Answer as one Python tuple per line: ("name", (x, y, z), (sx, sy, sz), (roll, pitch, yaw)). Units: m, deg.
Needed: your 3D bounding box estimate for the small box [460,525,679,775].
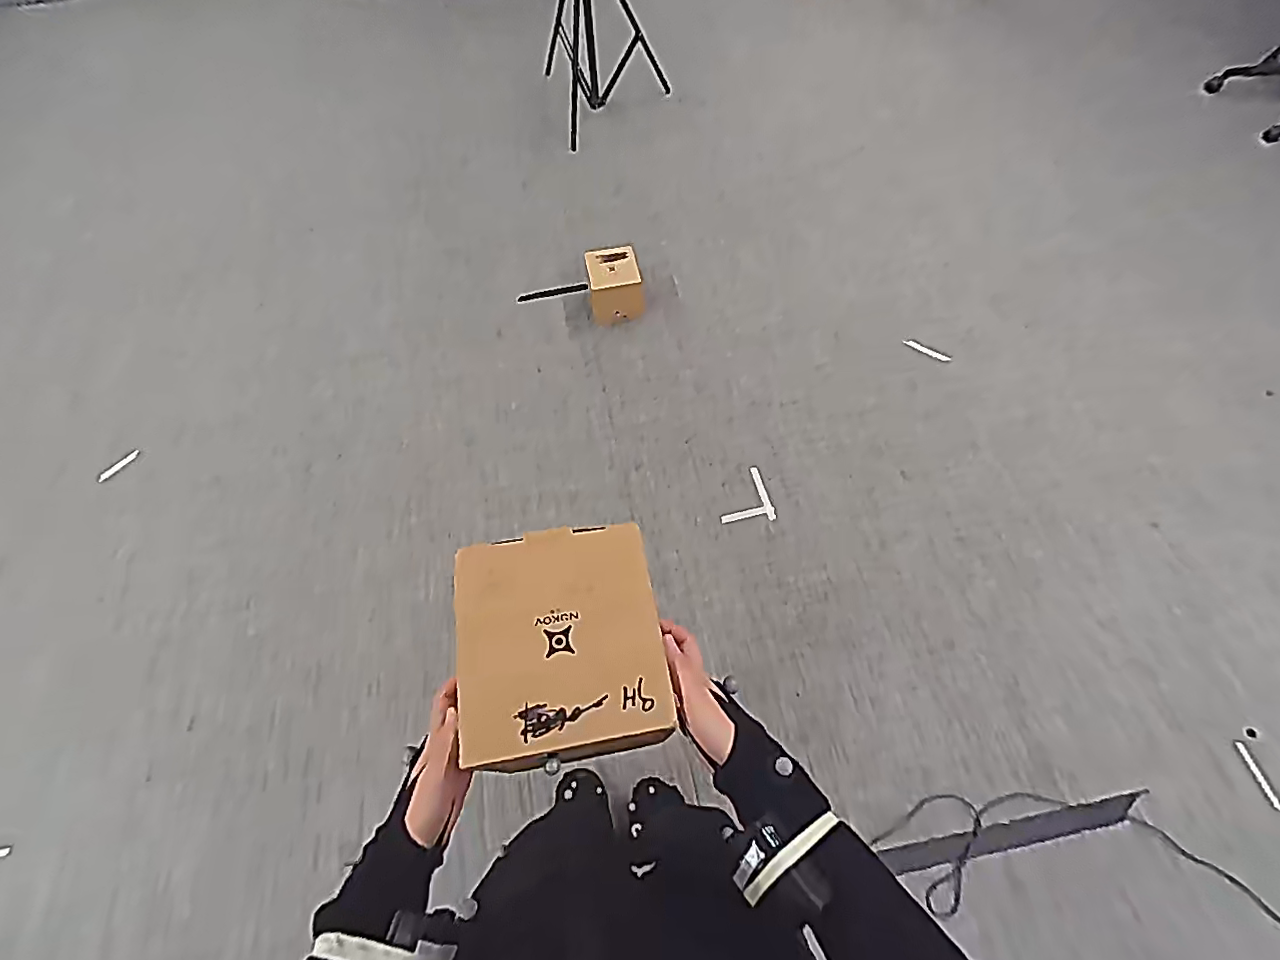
("small box", (-0.067, 0.164, 0.509), (0.168, 0.176, 0.179), (-8, 61, -7))
